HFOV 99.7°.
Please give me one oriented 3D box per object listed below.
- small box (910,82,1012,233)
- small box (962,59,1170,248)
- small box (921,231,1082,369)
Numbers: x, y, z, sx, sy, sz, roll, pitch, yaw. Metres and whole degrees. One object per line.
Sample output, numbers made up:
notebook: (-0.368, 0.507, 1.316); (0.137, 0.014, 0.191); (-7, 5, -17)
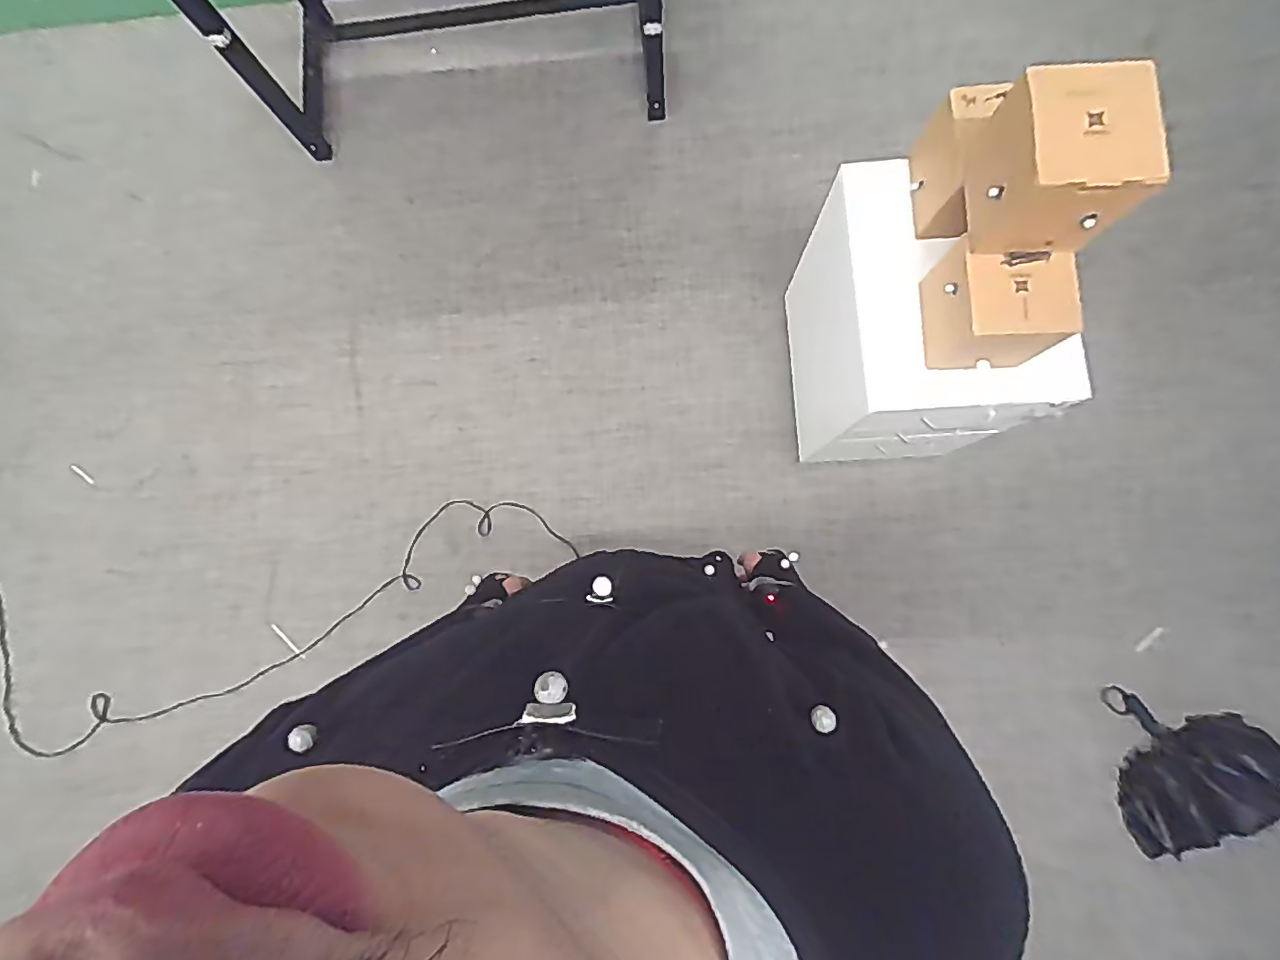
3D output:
small box: (0.600, -0.558, 0.958); (0.168, 0.176, 0.179); (-3, 84, 3)
small box: (0.595, -0.455, 0.781); (0.168, 0.176, 0.179); (-1, 81, 3)
small box: (0.601, -0.301, 0.923); (0.168, 0.176, 0.179); (-1, 83, 4)
